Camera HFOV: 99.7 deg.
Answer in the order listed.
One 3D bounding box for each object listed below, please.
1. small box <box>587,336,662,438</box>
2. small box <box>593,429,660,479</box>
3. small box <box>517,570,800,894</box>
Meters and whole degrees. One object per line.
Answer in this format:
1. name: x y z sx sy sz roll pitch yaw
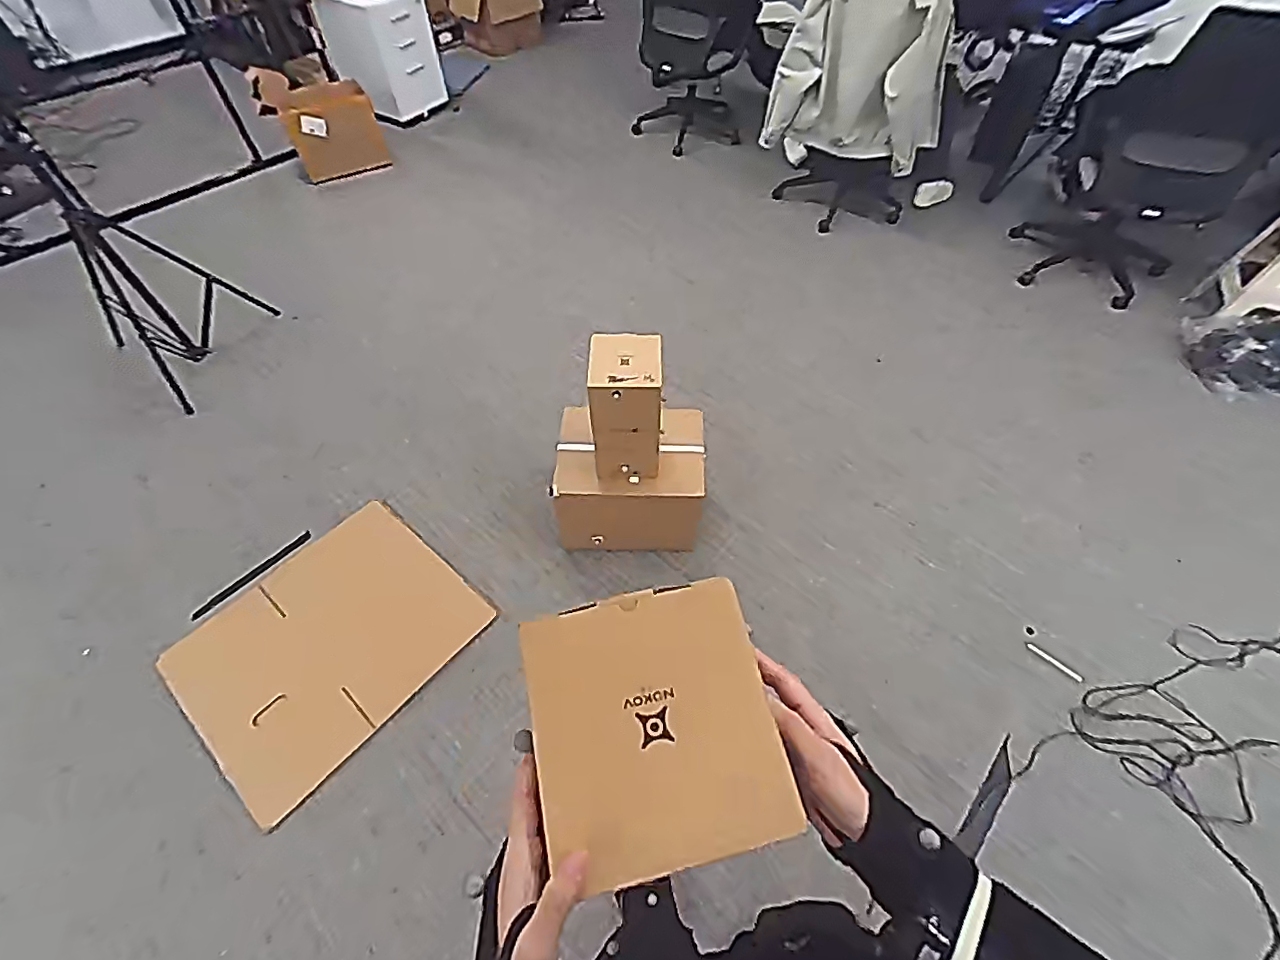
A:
1. small box: -0.033 -0.221 1.287 0.168 0.176 0.179 0 54 1
2. small box: -0.032 -0.122 1.419 0.168 0.176 0.179 0 55 1
3. small box: 0.005 0.195 0.441 0.168 0.176 0.179 -11 63 -7
